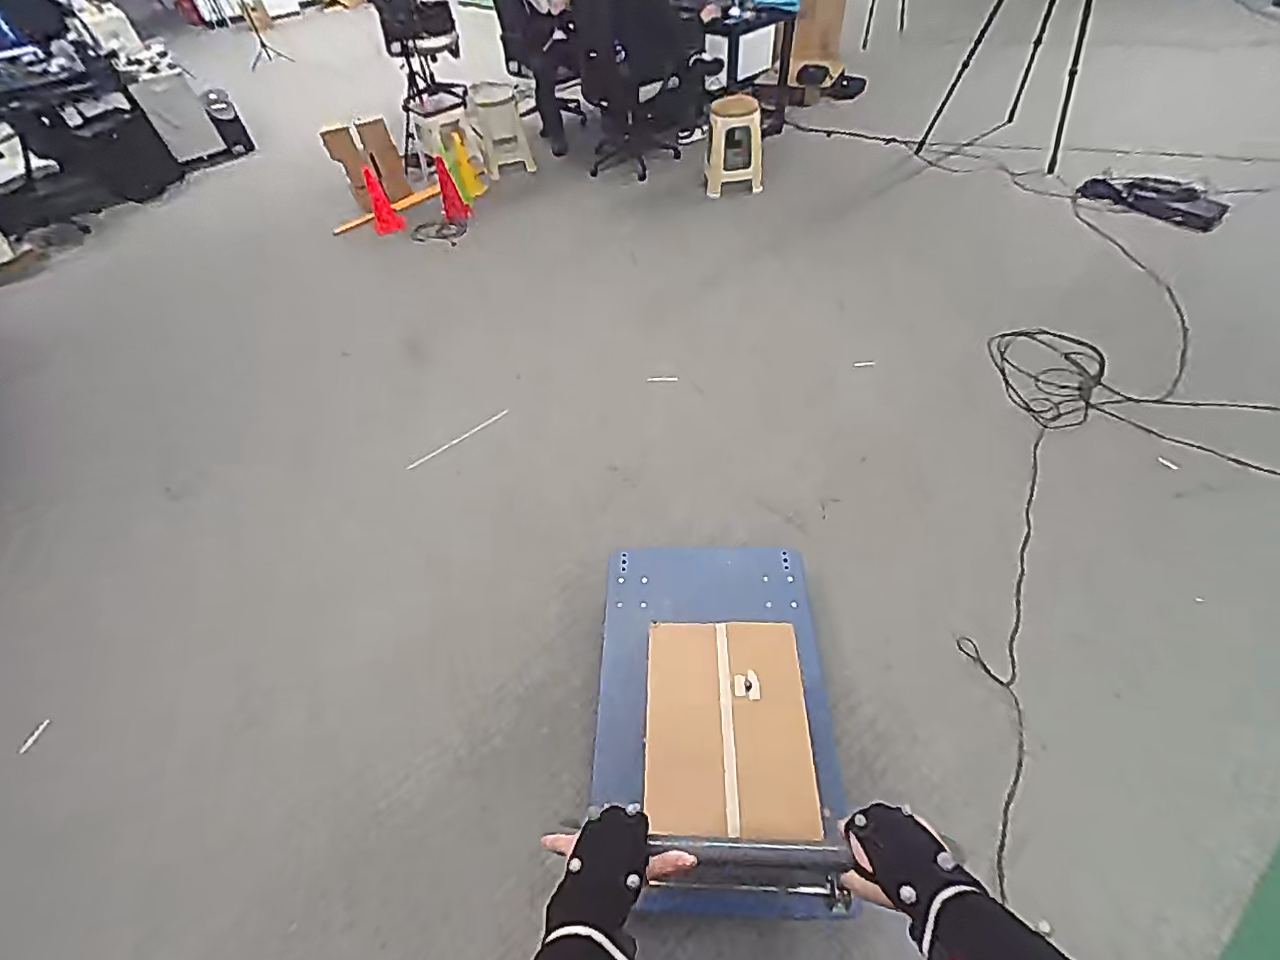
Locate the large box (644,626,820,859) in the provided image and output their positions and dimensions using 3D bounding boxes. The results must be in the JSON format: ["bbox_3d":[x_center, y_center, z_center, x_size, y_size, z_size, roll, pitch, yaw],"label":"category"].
[{"bbox_3d":[0.180,0.575,1.186,0.320,0.320,0.408,-1,50,5],"label":"large box"}]
